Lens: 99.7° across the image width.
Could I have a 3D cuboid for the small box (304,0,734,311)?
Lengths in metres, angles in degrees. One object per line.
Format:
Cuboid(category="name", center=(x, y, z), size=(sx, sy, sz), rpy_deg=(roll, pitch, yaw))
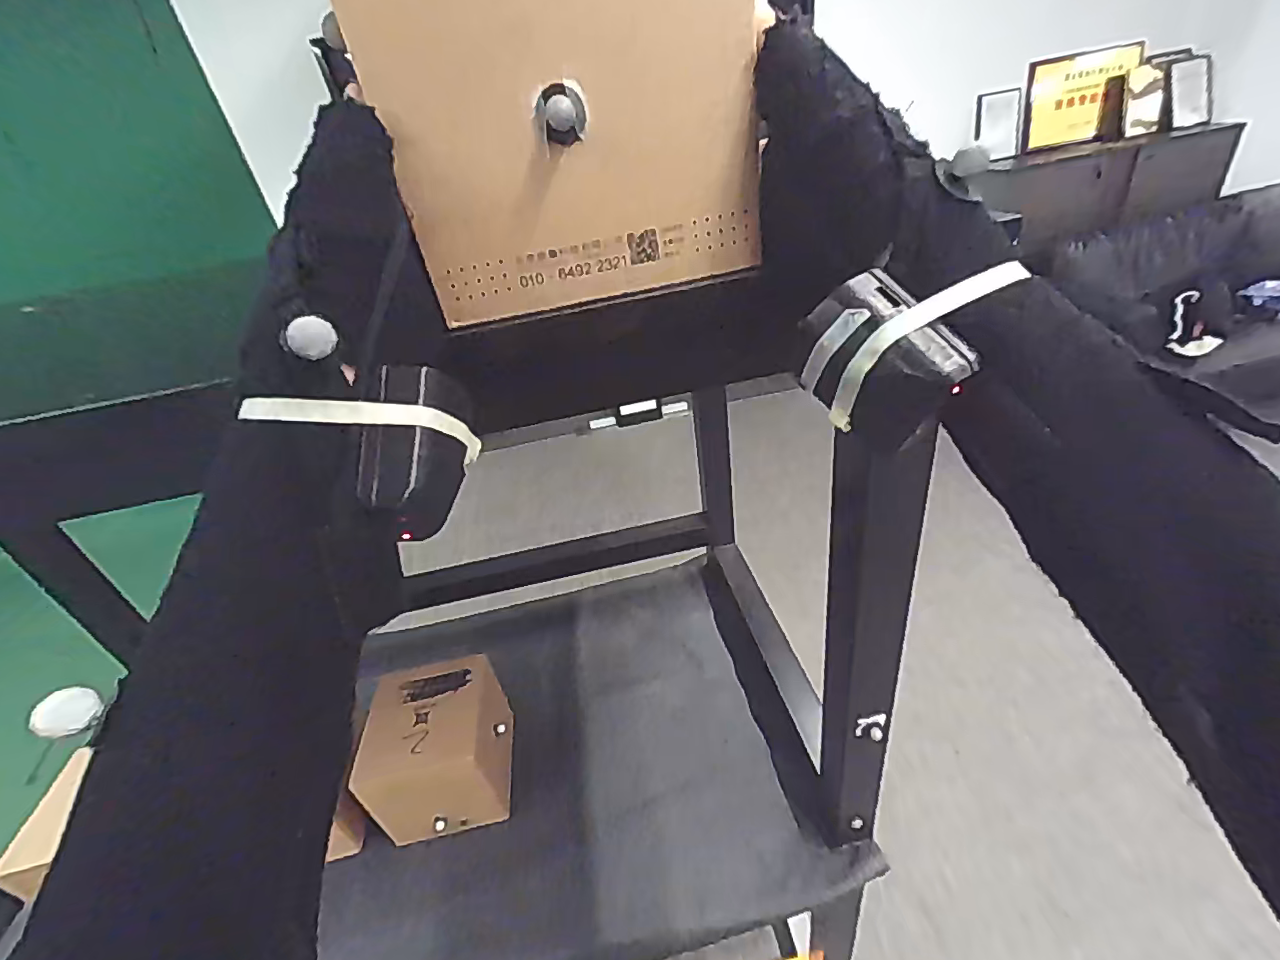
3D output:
Cuboid(category="small box", center=(-0.051, -0.204, 0.302), size=(0.168, 0.176, 0.179), rpy_deg=(-12, 32, -2))
